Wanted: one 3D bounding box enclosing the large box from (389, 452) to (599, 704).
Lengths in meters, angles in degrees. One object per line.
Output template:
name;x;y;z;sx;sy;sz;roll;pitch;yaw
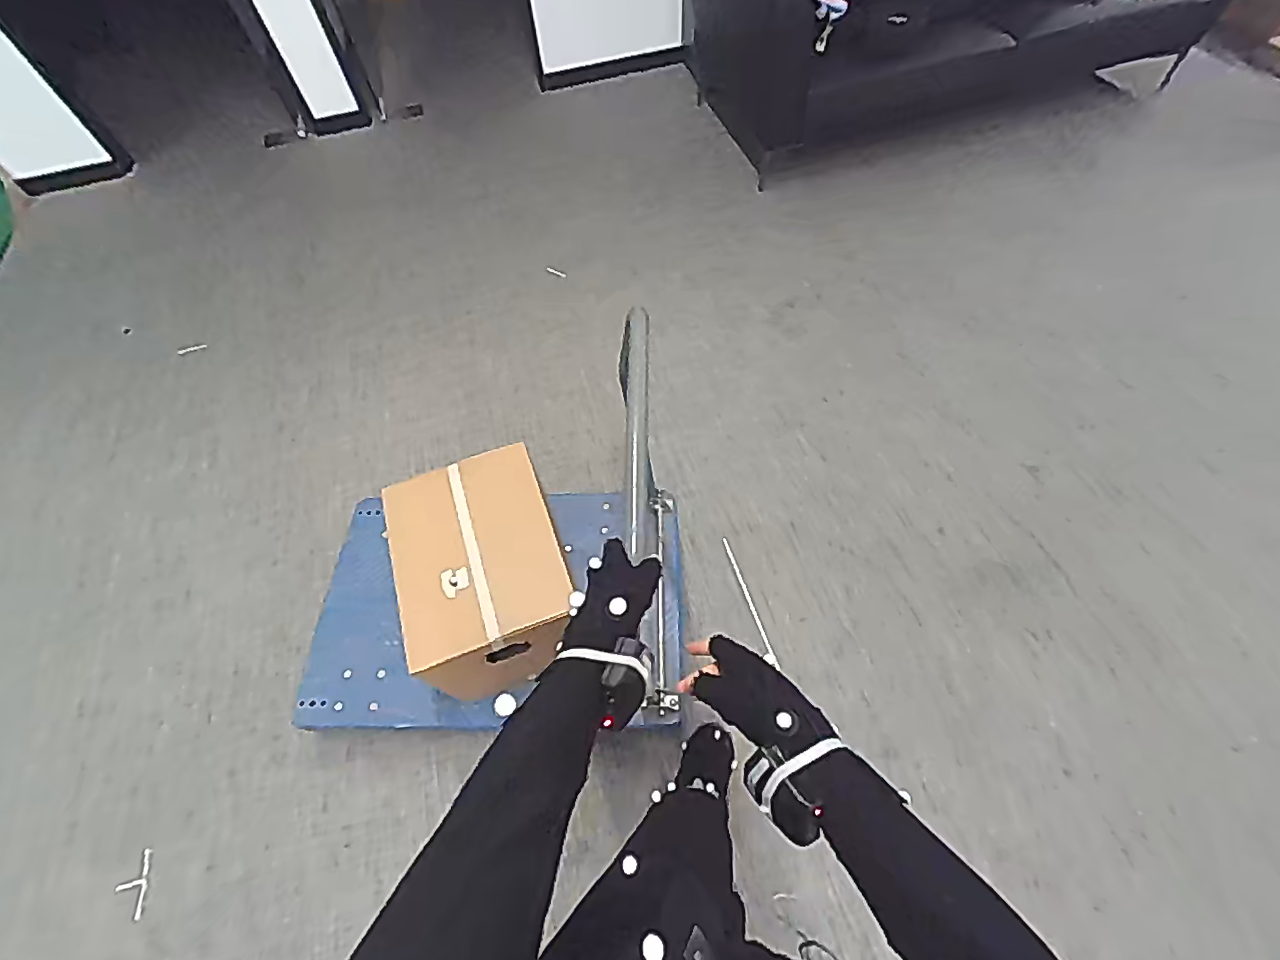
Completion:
large box;-0.310;0.218;1.193;0.320;0.320;0.408;-20;60;-8
